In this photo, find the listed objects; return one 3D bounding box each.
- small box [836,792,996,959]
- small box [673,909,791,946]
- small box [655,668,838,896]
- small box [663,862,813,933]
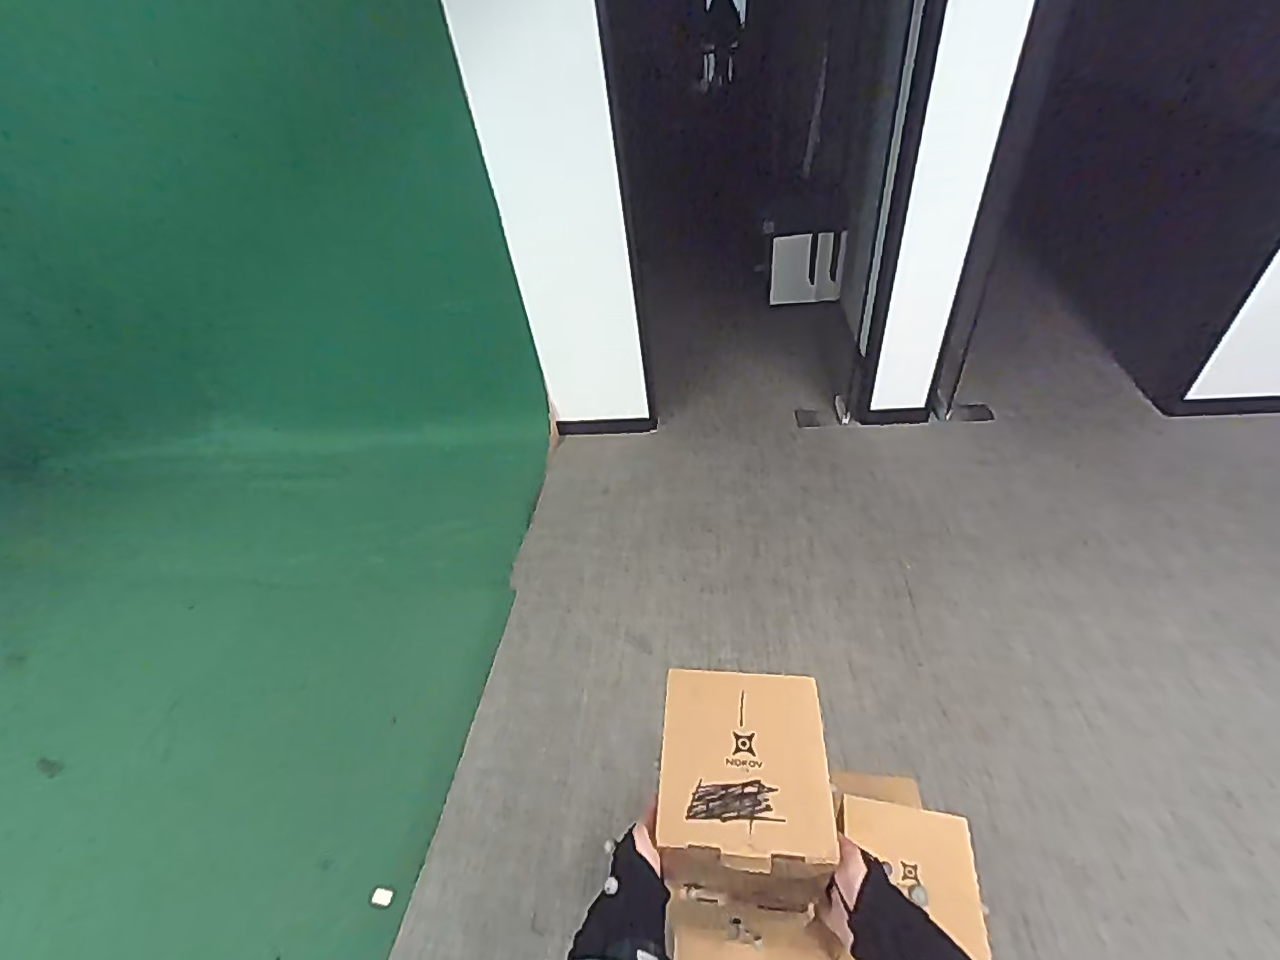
[{"bbox_3d":[0.372,0.580,0.765,0.168,0.176,0.179,2,42,15],"label":"small box"},{"bbox_3d":[0.143,0.573,0.818,0.168,0.176,0.179,2,42,9],"label":"small box"},{"bbox_3d":[0.111,0.332,0.597,0.168,0.176,0.179,0,42,8],"label":"small box"},{"bbox_3d":[0.123,0.460,0.701,0.168,0.176,0.179,1,43,8],"label":"small box"}]
